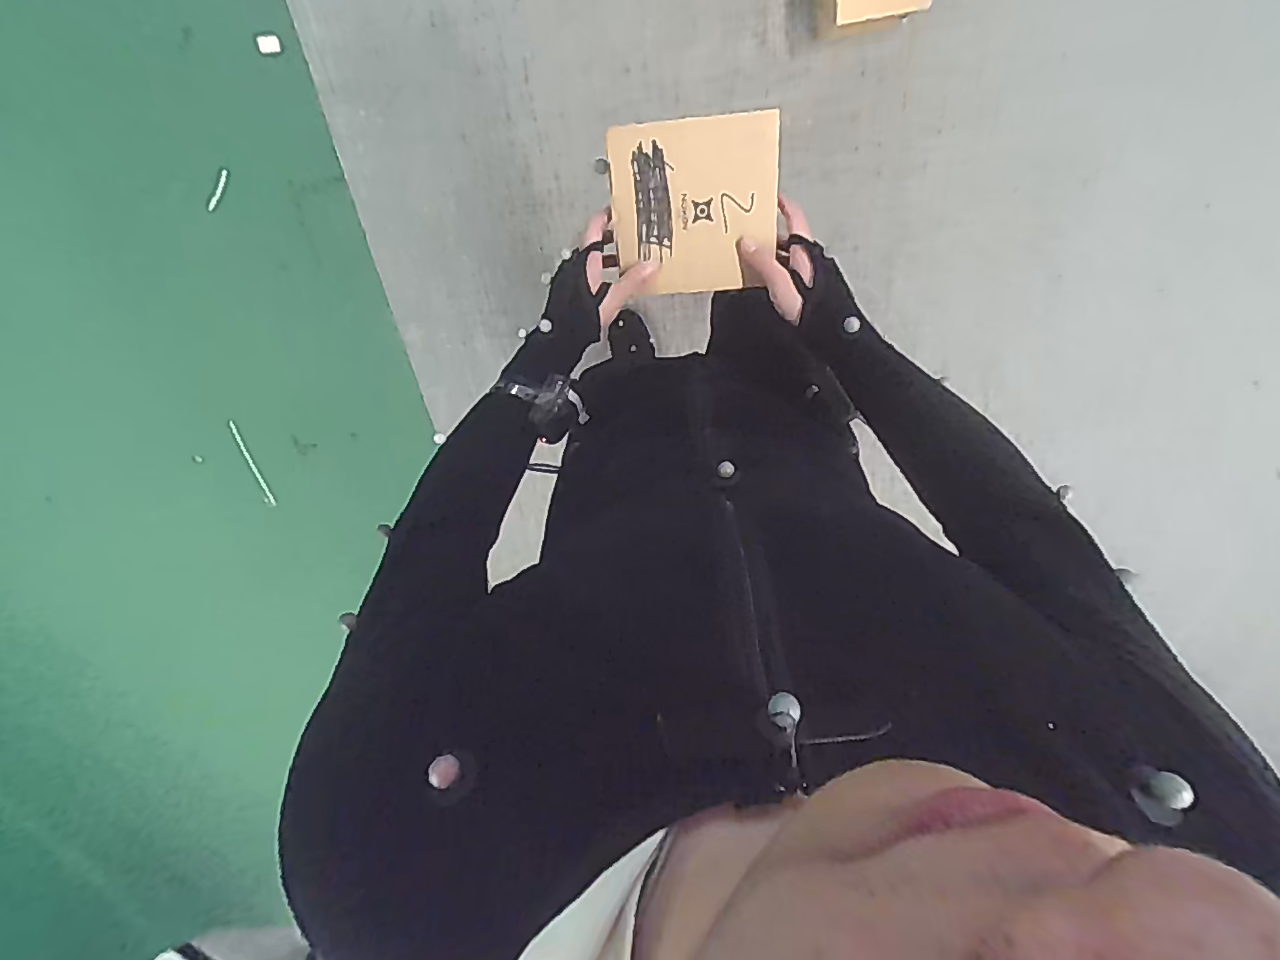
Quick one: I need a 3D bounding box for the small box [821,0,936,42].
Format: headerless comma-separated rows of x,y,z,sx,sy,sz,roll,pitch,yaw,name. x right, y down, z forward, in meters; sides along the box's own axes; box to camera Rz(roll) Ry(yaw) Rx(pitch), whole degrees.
0.454,-0.975,1.040,0.179,0.176,0.168,-7,119,6,small box

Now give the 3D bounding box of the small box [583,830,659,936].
-0.043,1.012,1.364,0.179,0.176,0.168,-2,120,3,small box
